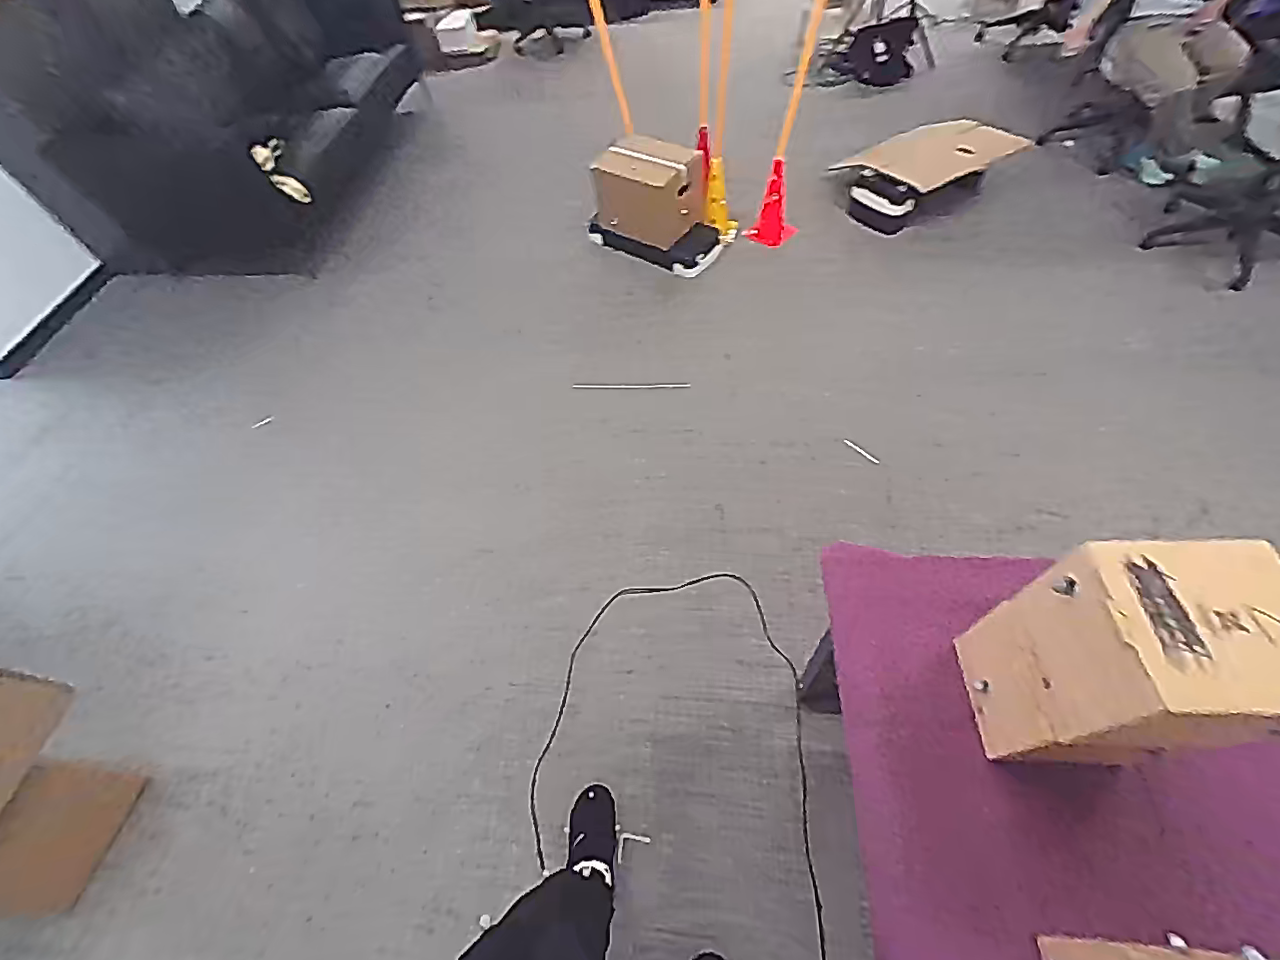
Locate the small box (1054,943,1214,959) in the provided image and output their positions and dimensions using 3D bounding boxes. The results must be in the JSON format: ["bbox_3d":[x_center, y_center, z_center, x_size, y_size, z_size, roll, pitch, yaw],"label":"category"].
[{"bbox_3d":[0.532,0.556,0.506,0.179,0.176,0.168,0,56,6],"label":"small box"}]

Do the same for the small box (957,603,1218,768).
[{"bbox_3d":[0.552,0.269,0.701,0.179,0.176,0.168,-1,55,6],"label":"small box"}]
